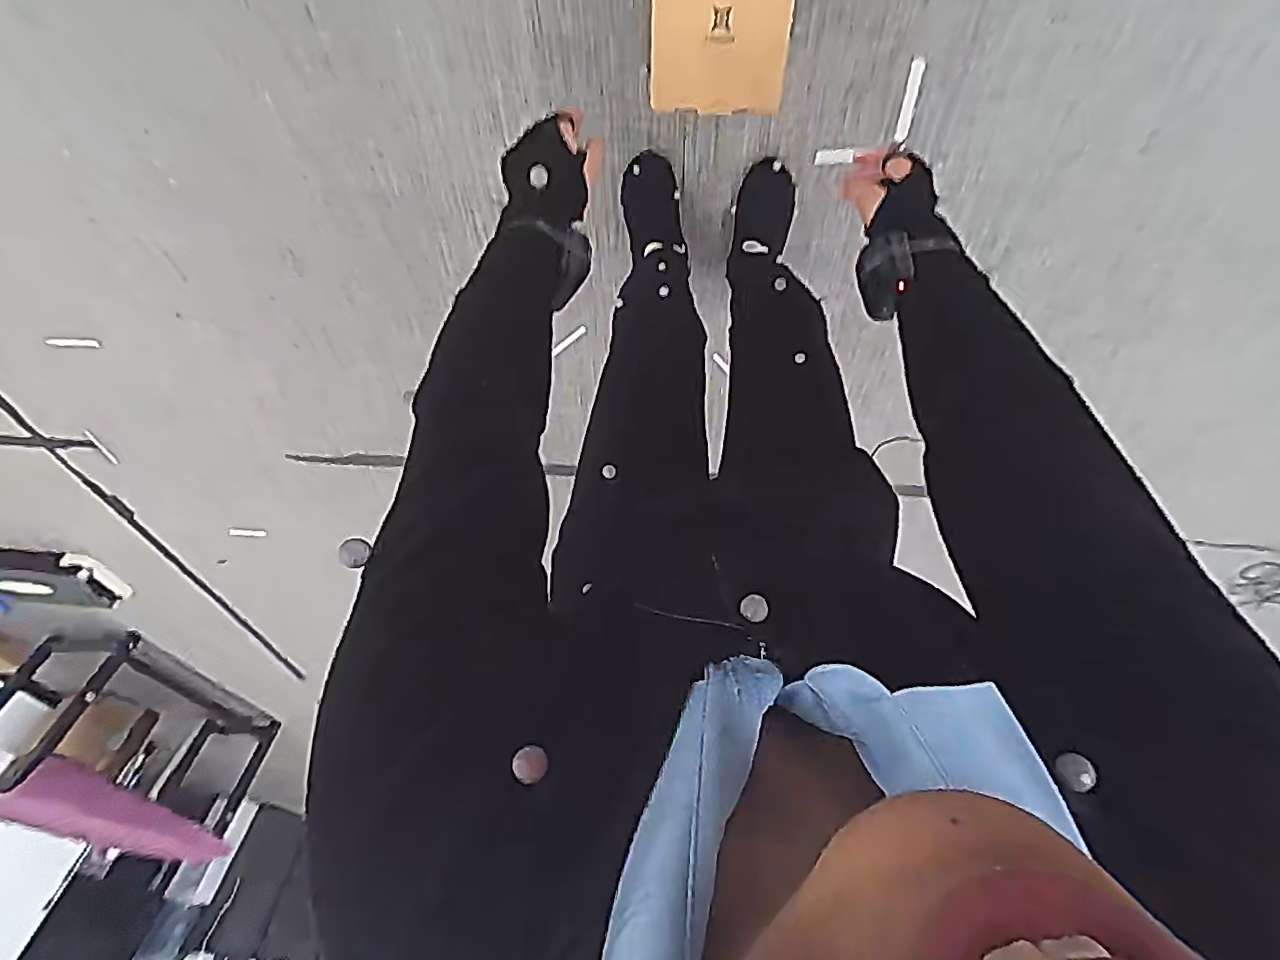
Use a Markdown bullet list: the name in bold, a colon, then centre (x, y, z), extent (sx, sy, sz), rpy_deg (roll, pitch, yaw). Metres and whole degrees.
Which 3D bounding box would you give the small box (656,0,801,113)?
- **small box**: centre (0.107, -0.589, 0.689), extent (0.168, 0.176, 0.179), rpy_deg (3, 135, 4)
